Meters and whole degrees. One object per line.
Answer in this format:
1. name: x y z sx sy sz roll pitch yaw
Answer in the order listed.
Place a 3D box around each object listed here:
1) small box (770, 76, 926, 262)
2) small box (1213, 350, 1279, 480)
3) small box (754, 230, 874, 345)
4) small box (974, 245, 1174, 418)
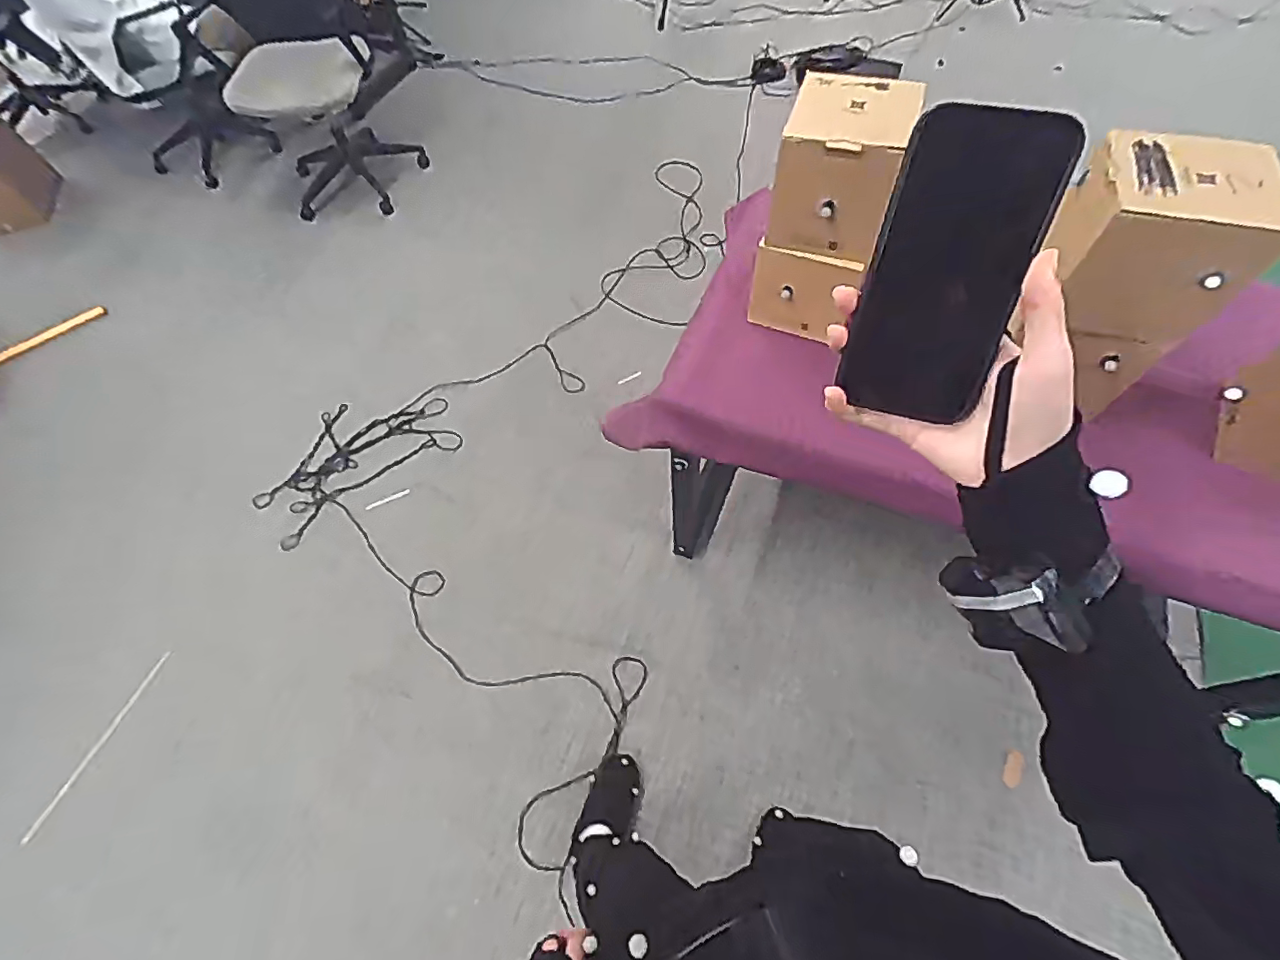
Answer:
1. small box: 0.297 -0.454 0.800 0.168 0.176 0.179 16 63 13
2. small box: 0.951 -0.094 0.727 0.179 0.176 0.168 26 65 19
3. small box: 0.305 -0.365 0.938 0.168 0.176 0.179 21 64 16
4. small box: 0.649 -0.219 0.823 0.179 0.176 0.168 20 64 16
